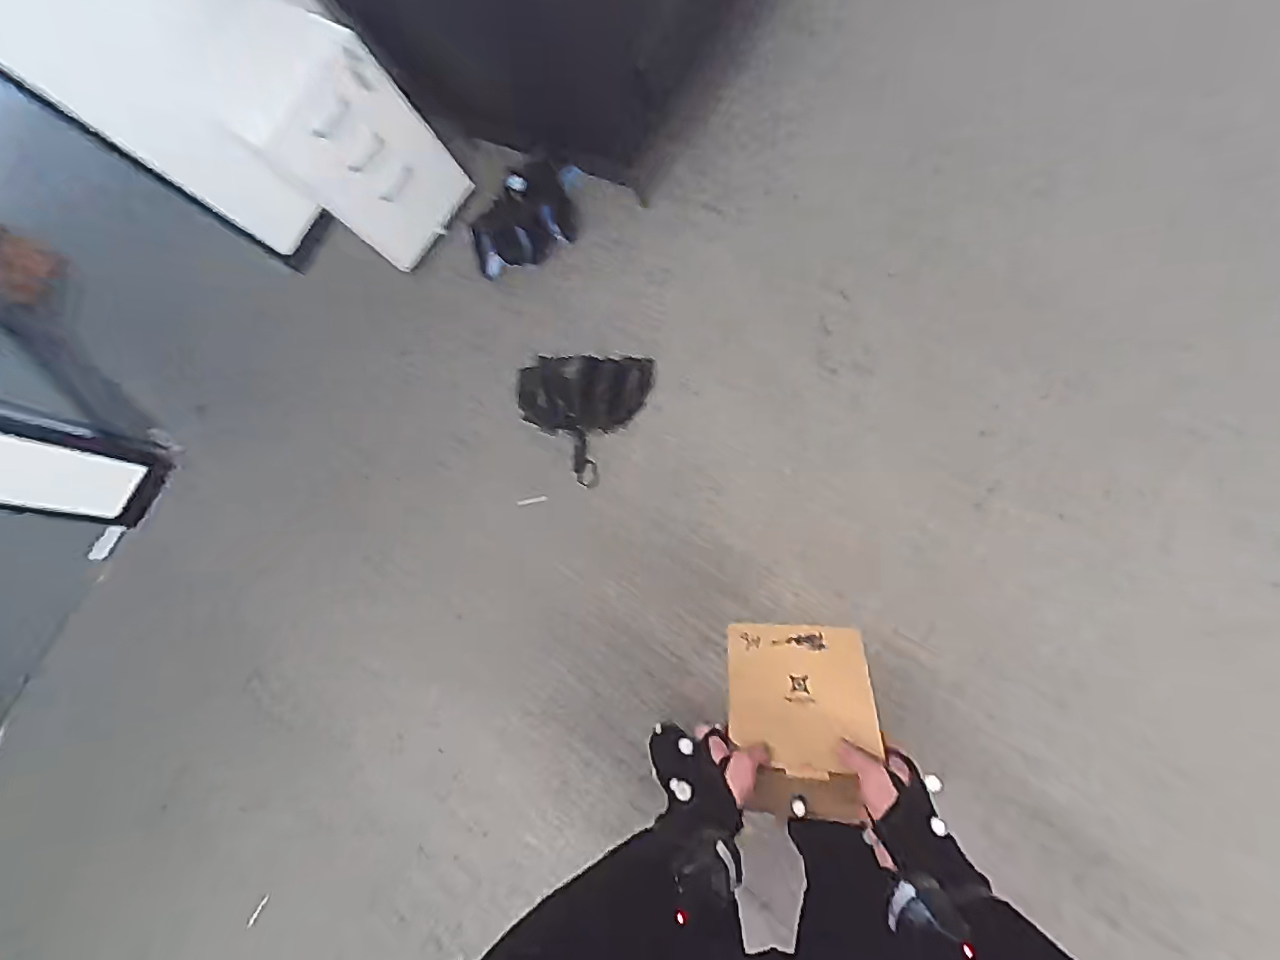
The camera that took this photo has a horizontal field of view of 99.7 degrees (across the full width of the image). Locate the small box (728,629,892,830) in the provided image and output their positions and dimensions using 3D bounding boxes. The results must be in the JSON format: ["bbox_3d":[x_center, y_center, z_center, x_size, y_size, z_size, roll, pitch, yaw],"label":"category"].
[{"bbox_3d":[0.193,0.306,0.663,0.168,0.176,0.179,0,44,9],"label":"small box"}]
